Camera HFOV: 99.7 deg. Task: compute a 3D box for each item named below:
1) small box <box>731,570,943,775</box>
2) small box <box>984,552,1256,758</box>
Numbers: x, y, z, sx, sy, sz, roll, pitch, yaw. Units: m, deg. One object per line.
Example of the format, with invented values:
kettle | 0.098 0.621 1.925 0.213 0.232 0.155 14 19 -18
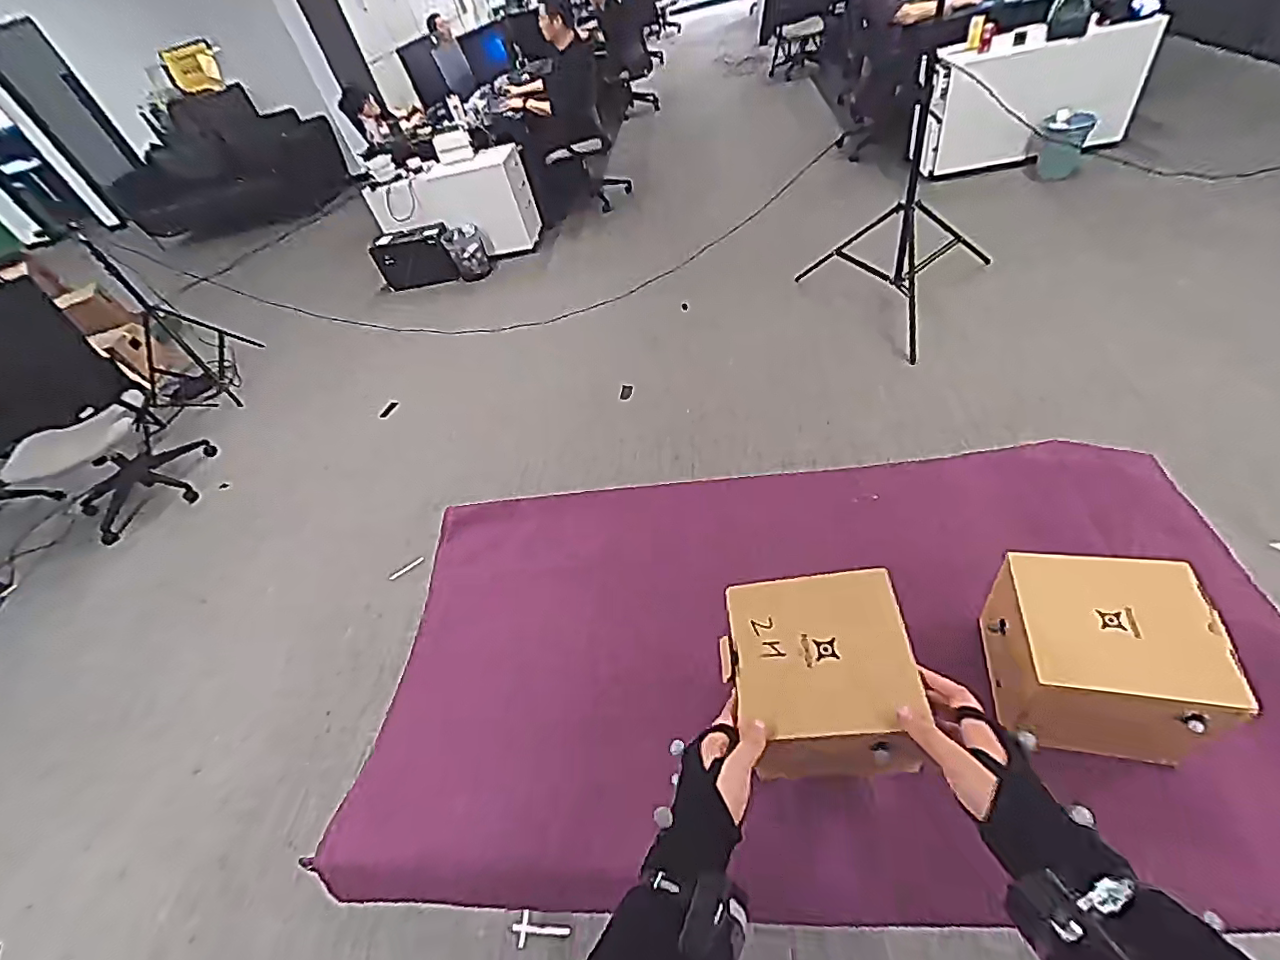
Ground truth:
small box | 0.204 0.217 0.595 0.179 0.176 0.168 -10 50 13
small box | 0.521 0.202 0.628 0.179 0.176 0.168 1 48 18
